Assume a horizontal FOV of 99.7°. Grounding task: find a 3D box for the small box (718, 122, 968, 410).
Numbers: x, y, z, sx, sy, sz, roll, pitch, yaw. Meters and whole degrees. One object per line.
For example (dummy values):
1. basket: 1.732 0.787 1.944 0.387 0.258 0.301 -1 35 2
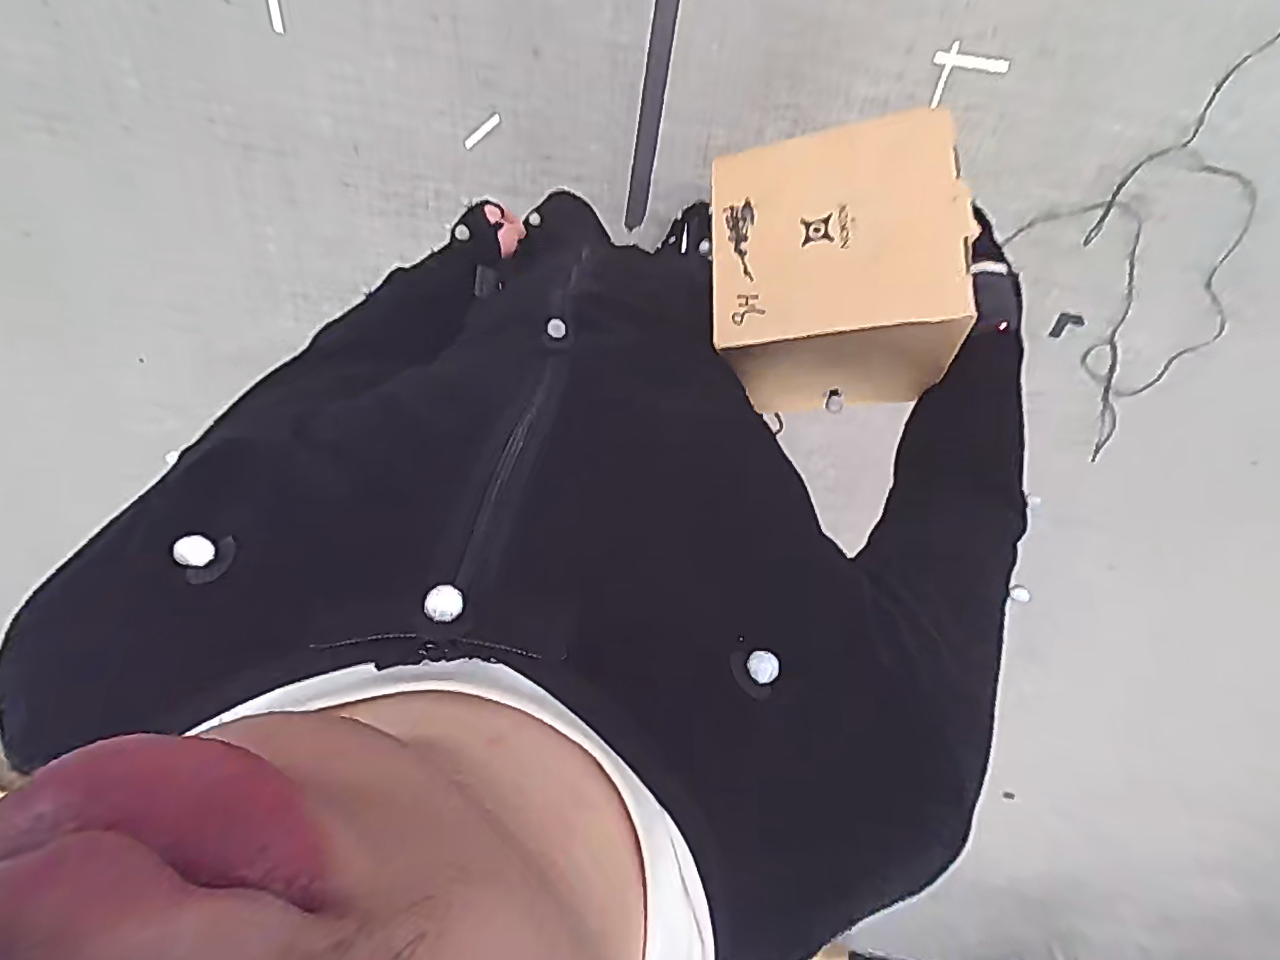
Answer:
1. small box: 0.170 -0.170 0.487 0.179 0.176 0.168 -2 78 18
